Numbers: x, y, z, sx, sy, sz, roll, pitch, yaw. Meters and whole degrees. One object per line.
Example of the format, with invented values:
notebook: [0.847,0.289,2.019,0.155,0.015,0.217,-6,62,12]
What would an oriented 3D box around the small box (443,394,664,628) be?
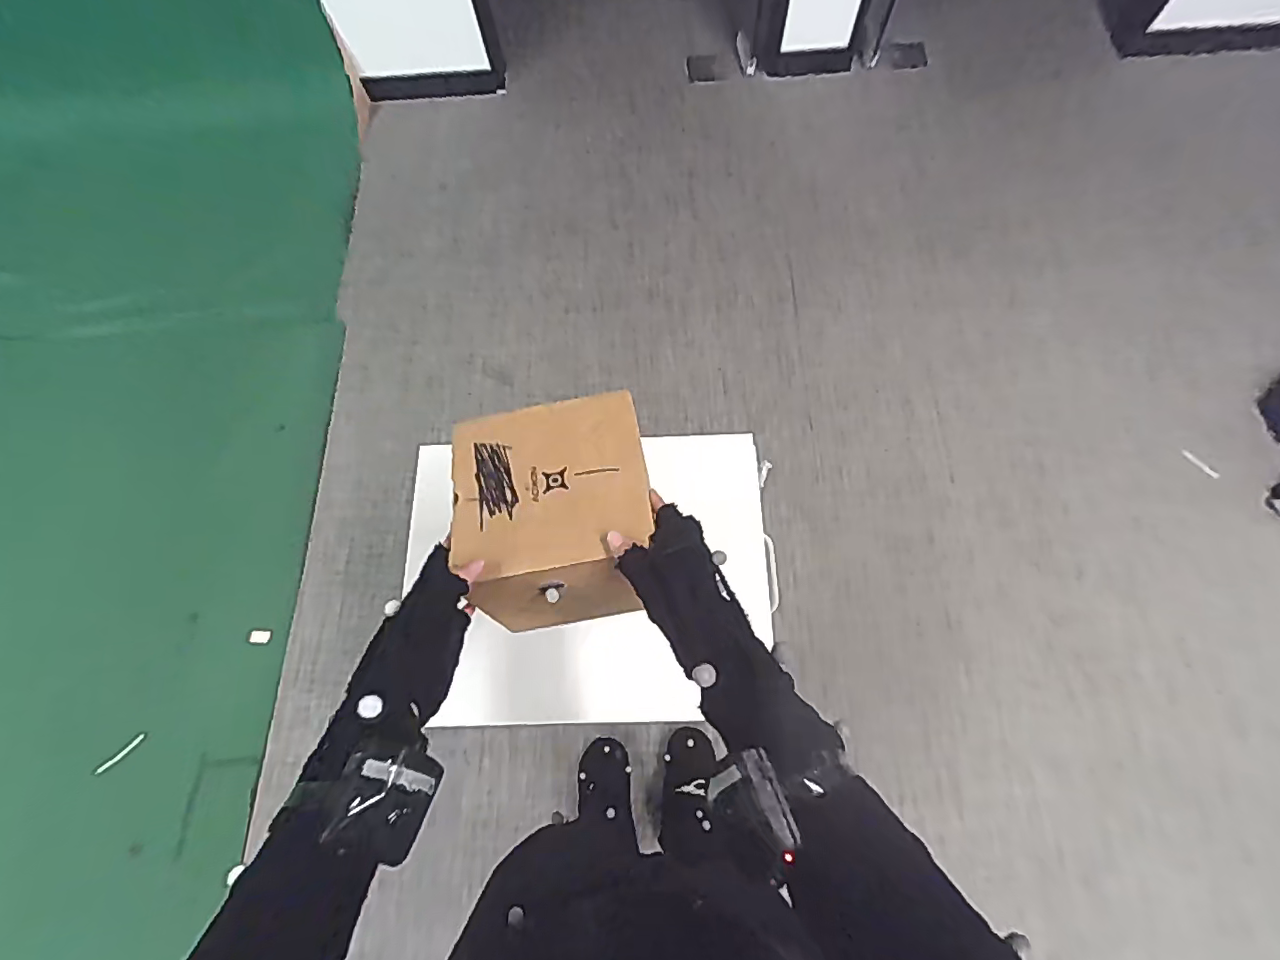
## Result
small box: [-0.078,0.041,0.546,0.179,0.176,0.168,-10,61,1]
